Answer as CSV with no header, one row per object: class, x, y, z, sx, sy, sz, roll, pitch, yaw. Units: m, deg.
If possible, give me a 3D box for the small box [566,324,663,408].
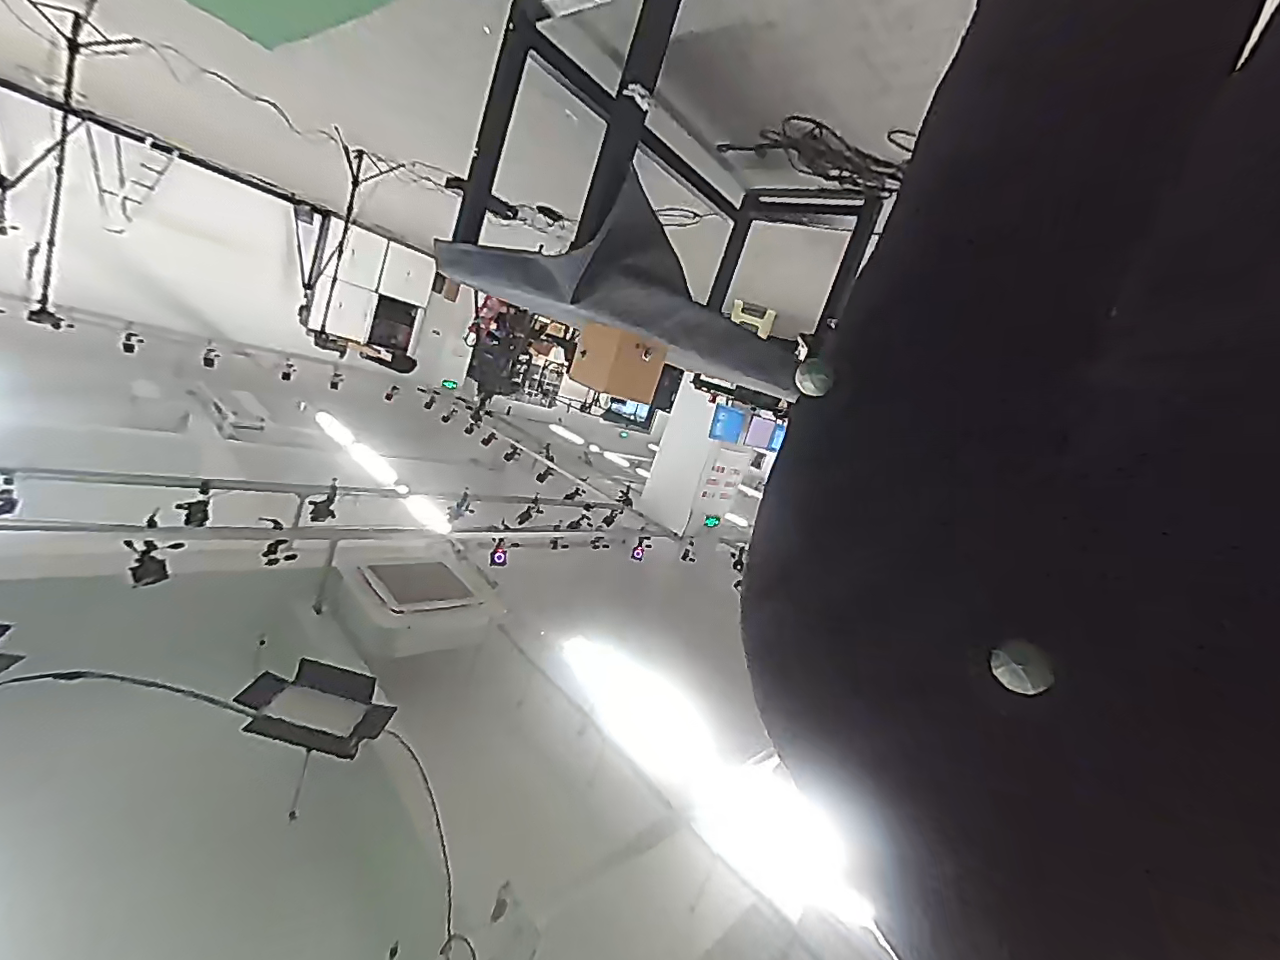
small box,-0.066,-0.306,1.435,0.168,0.176,0.179,7,-165,-42
